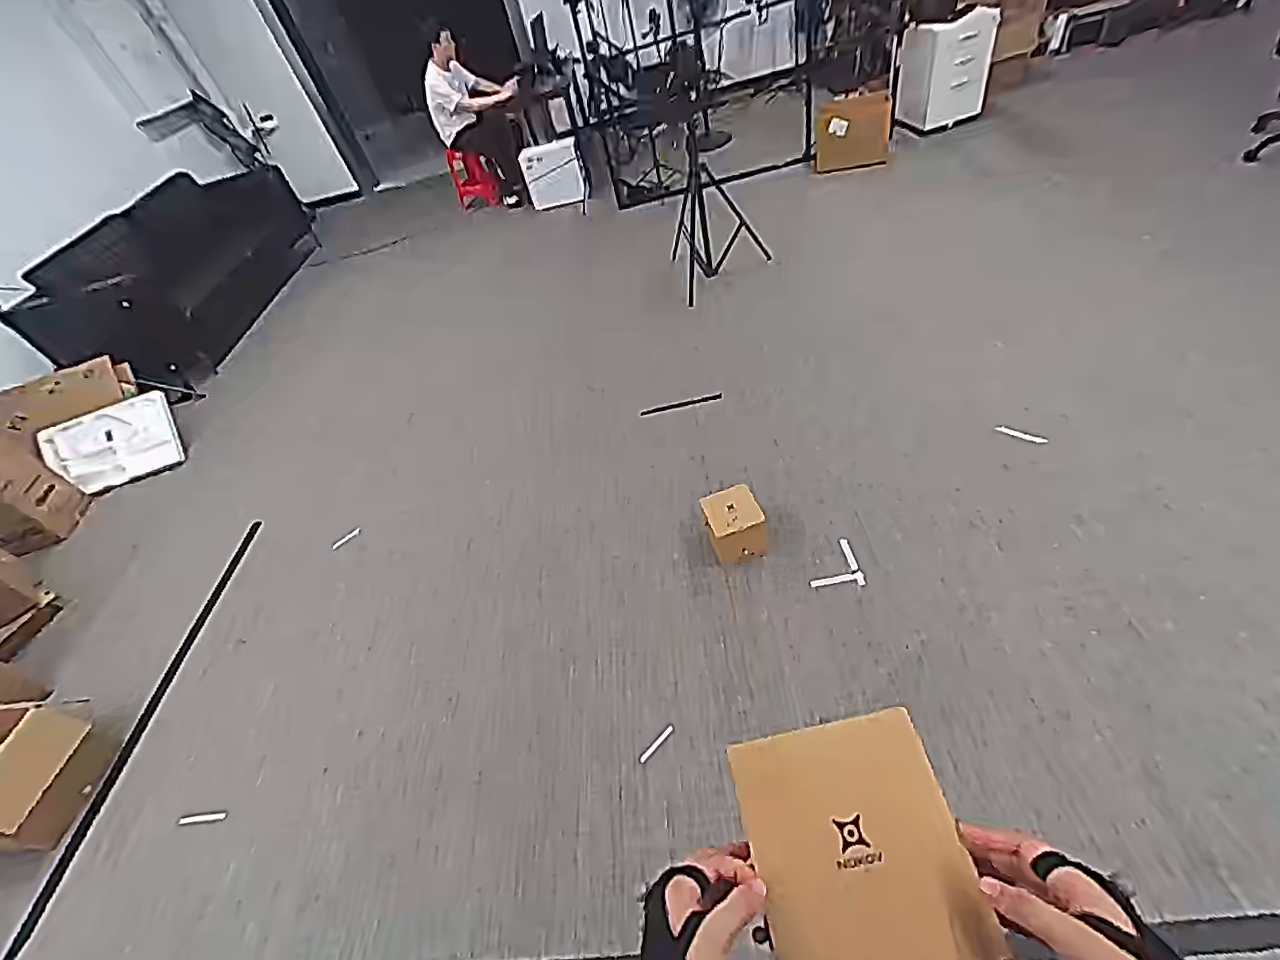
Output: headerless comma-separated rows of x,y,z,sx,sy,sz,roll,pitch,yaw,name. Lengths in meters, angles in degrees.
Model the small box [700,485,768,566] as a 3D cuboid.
0.307,0.150,1.769,0.168,0.176,0.179,-20,45,-1,small box
